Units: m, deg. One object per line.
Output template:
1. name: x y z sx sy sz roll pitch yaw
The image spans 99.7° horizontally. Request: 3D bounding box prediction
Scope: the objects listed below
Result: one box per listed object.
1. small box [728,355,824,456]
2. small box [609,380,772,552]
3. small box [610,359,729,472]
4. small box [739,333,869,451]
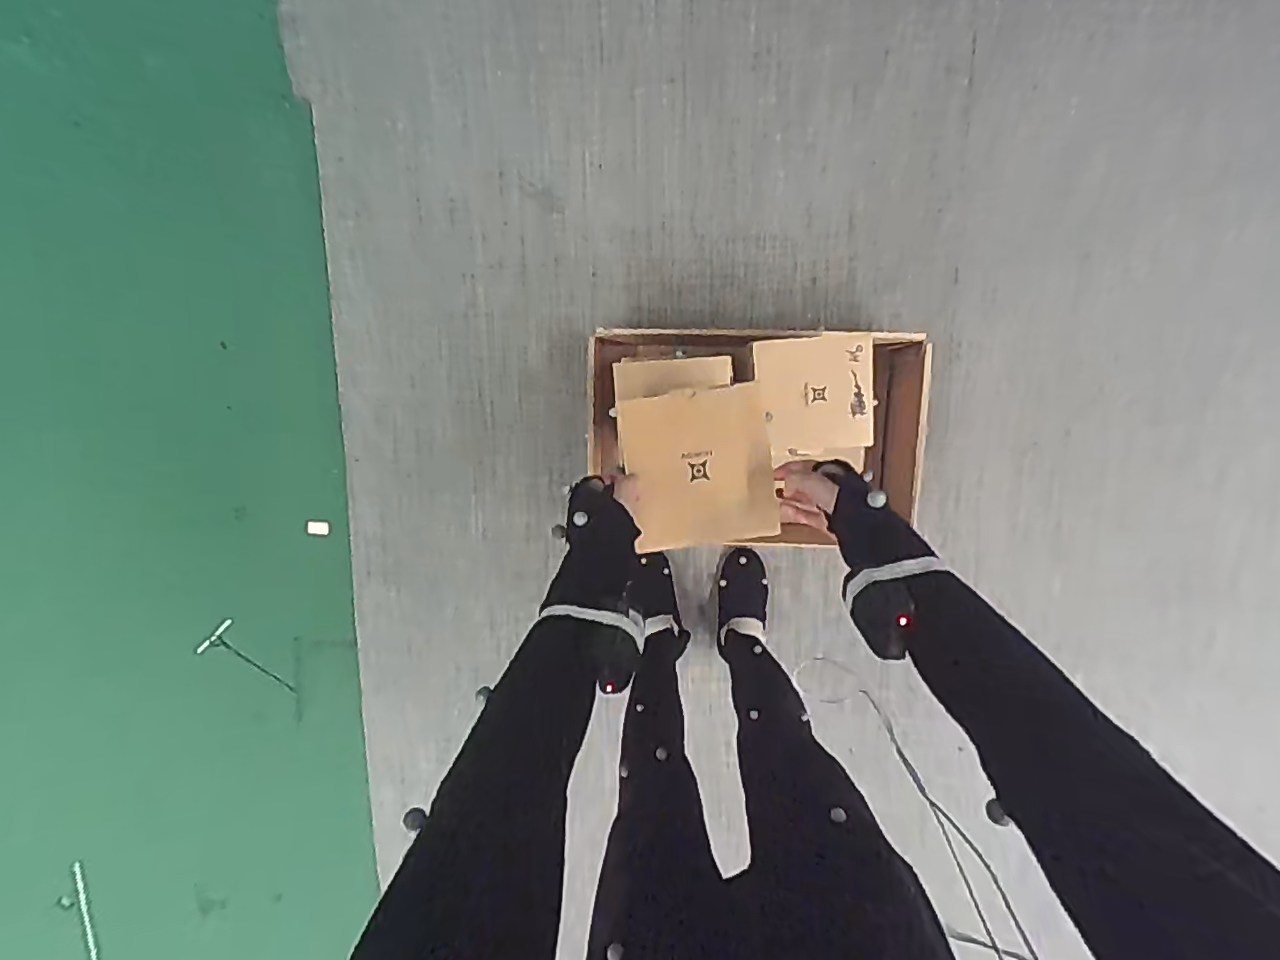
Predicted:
1. small box: 0.253 -0.143 1.033 0.168 0.176 0.179 1 99 4
2. small box: 0.059 -0.017 0.679 0.168 0.176 0.179 -8 90 1
3. small box: 0.048 -0.108 0.880 0.179 0.176 0.168 -3 99 3
4. small box: 0.252 -0.137 0.868 0.179 0.176 0.168 -3 98 5
